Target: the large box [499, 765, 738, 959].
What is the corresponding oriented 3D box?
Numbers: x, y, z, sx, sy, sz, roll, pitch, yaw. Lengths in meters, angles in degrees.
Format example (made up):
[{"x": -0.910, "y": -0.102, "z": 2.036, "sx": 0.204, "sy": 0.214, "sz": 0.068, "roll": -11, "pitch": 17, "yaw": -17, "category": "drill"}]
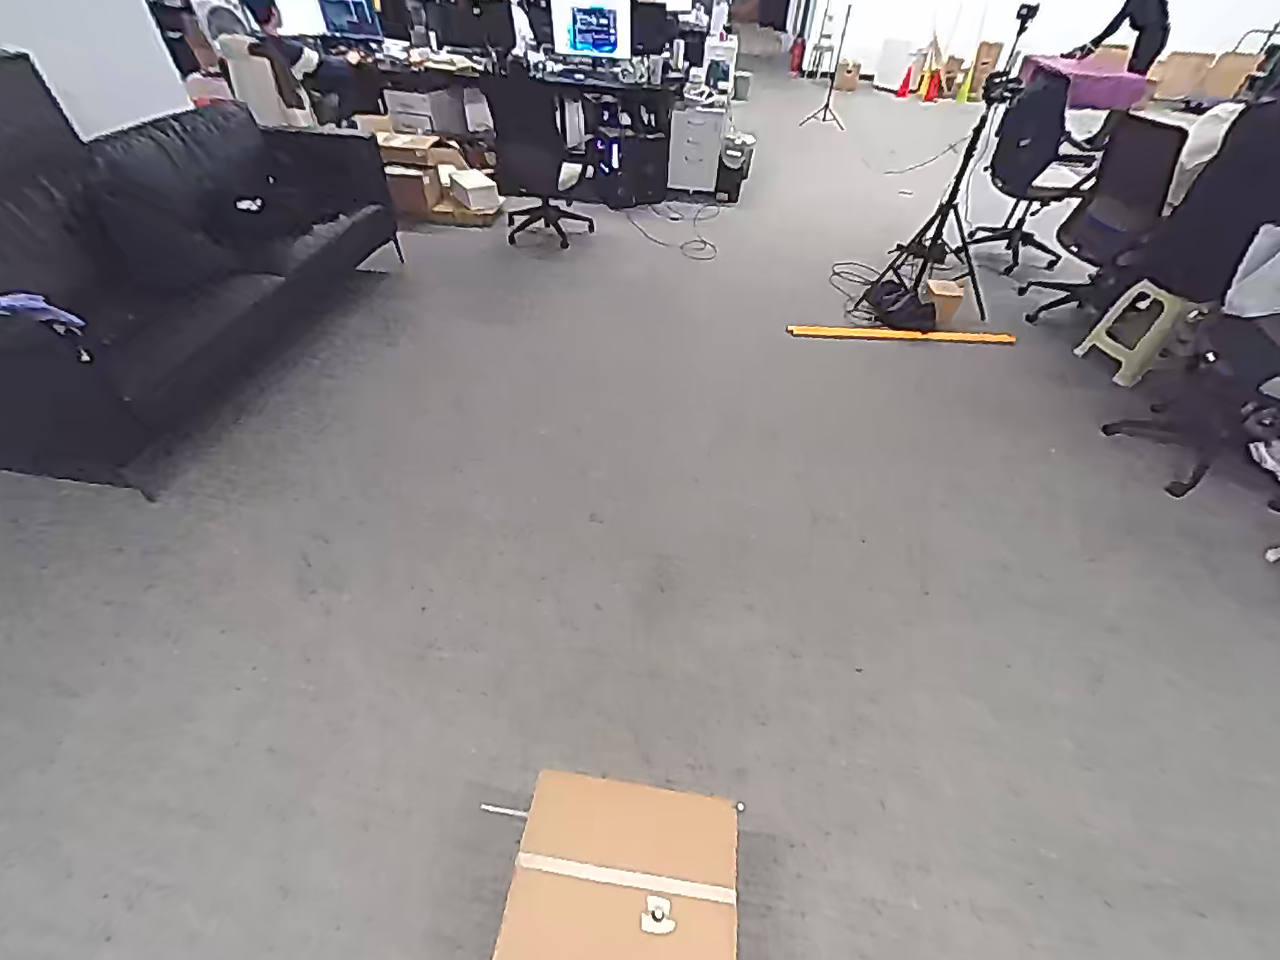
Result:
[{"x": -0.026, "y": 0.819, "z": 1.091, "sx": 0.408, "sy": 0.320, "sz": 0.320, "roll": 7, "pitch": 45, "yaw": 5, "category": "large box"}]
